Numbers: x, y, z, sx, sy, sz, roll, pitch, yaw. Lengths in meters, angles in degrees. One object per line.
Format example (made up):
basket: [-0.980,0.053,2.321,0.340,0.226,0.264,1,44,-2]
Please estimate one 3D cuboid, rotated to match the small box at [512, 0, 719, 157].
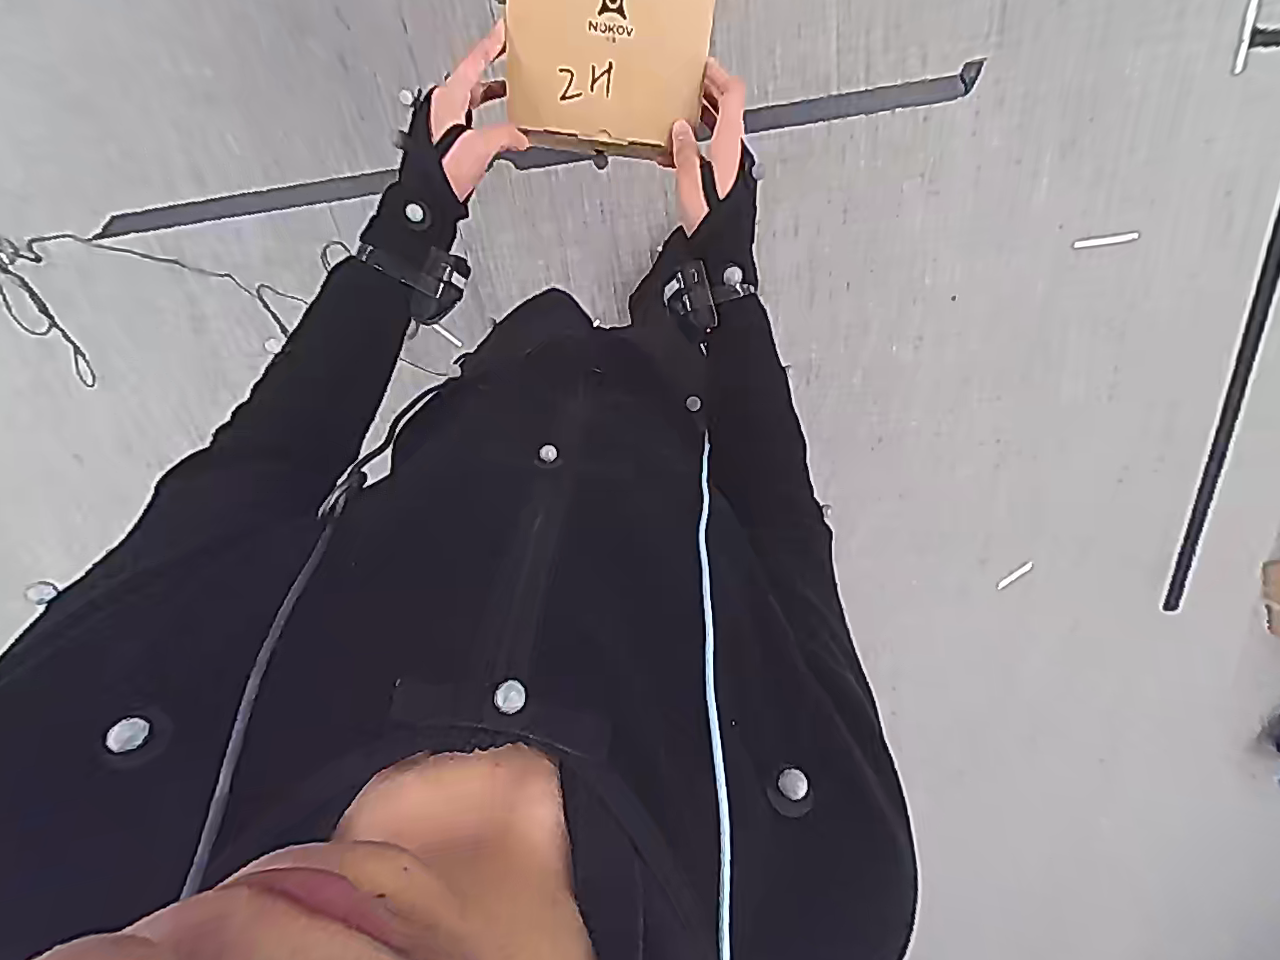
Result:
small box: [-0.024,-0.414,0.500,0.168,0.176,0.179,4,118,-6]
